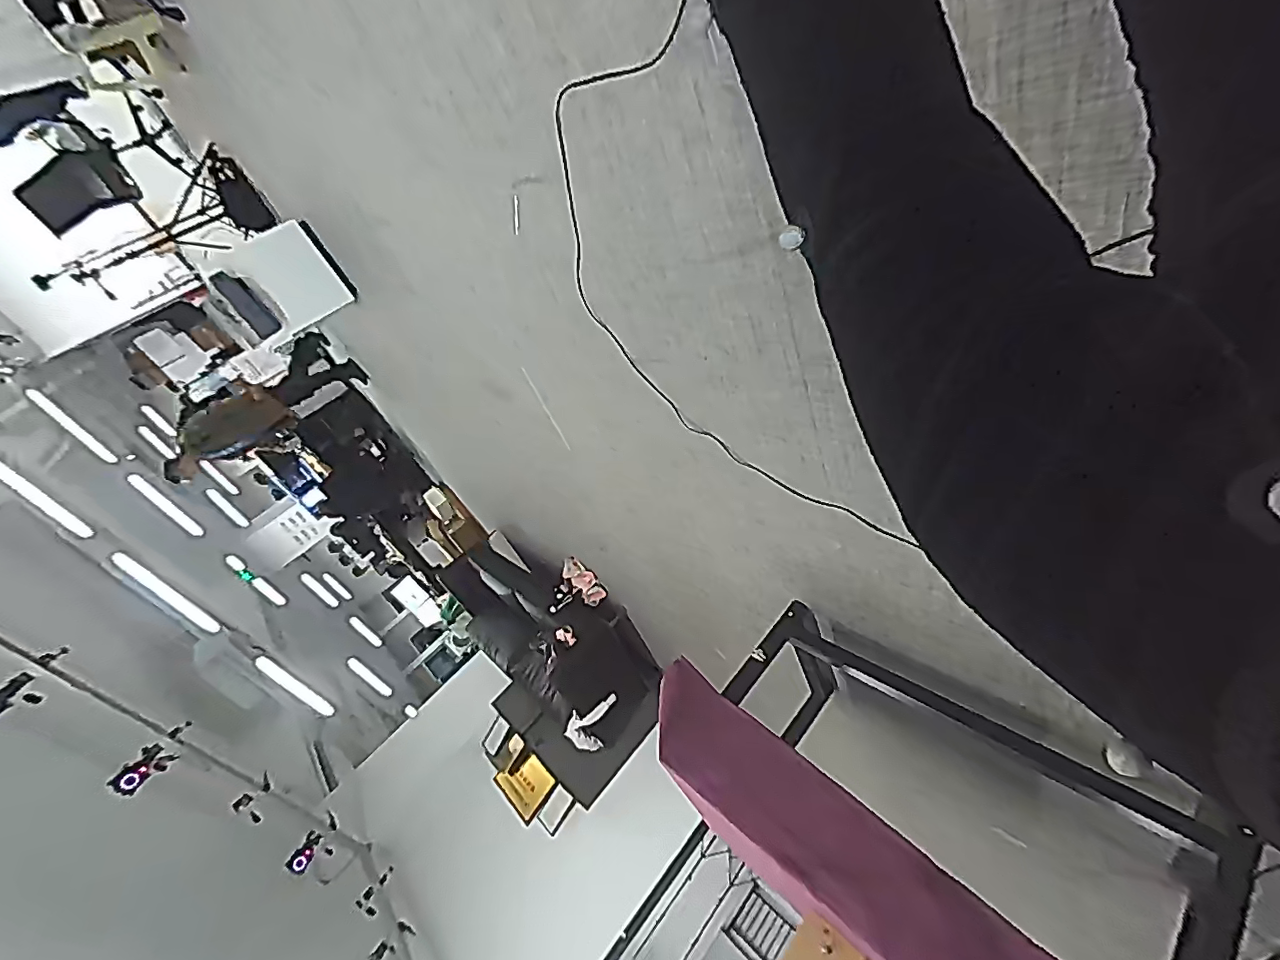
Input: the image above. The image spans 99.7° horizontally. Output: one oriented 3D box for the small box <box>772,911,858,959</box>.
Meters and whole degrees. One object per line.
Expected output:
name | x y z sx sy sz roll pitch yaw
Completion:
small box | 0.472 1.286 1.406 0.168 0.176 0.179 11 137 53
